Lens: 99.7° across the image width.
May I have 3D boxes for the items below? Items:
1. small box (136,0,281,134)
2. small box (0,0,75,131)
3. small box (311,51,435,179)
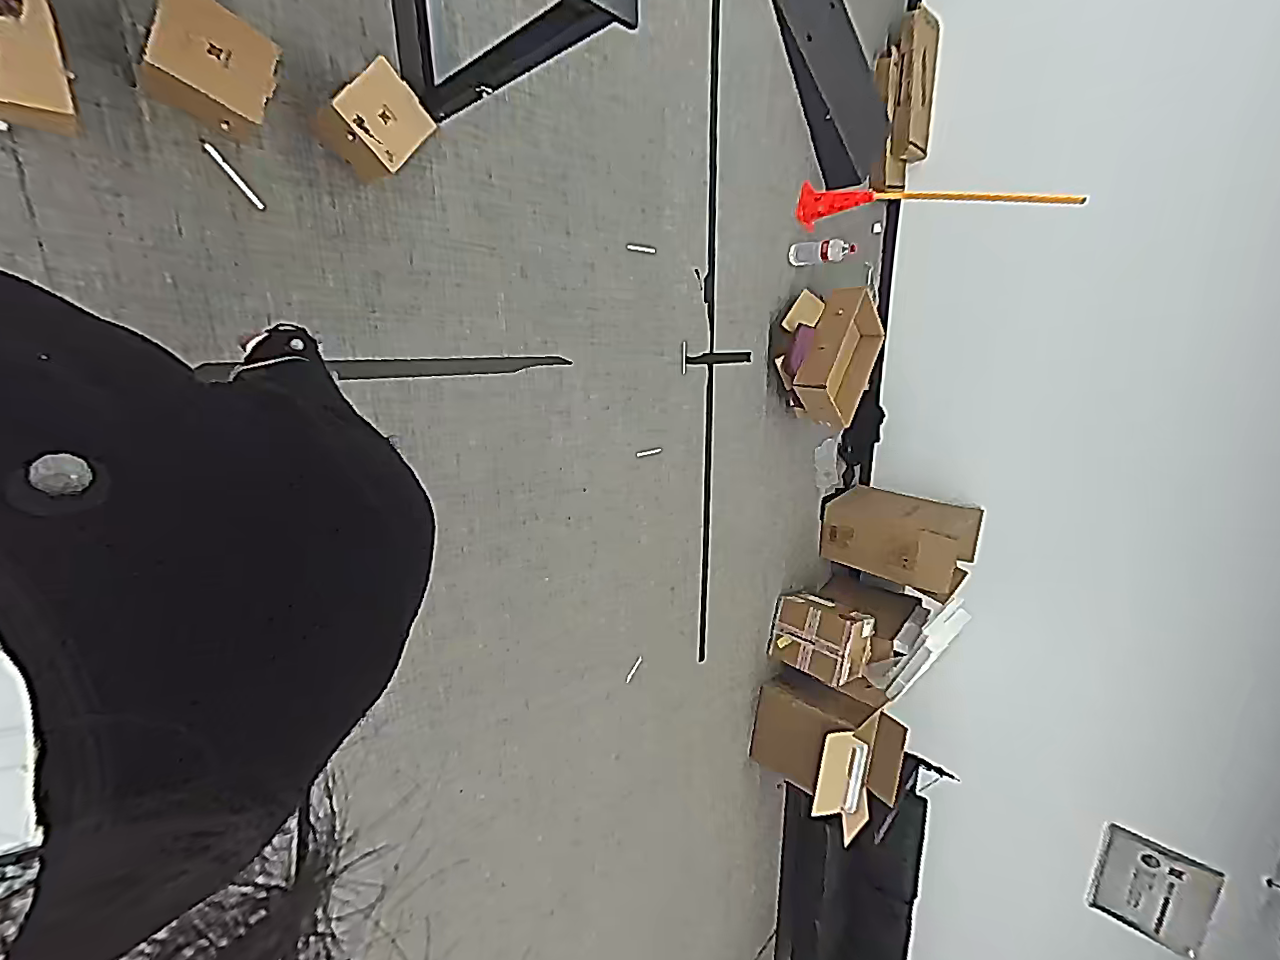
[{"bbox_3d":[-0.835,-0.806,1.045,0.179,0.176,0.168,15,89,-47],"label":"small box"},{"bbox_3d":[-1.037,-0.686,0.856,0.168,0.176,0.179,-16,114,-44],"label":"small box"},{"bbox_3d":[-0.624,-0.840,1.260,0.168,0.176,0.179,46,67,-43],"label":"small box"}]
